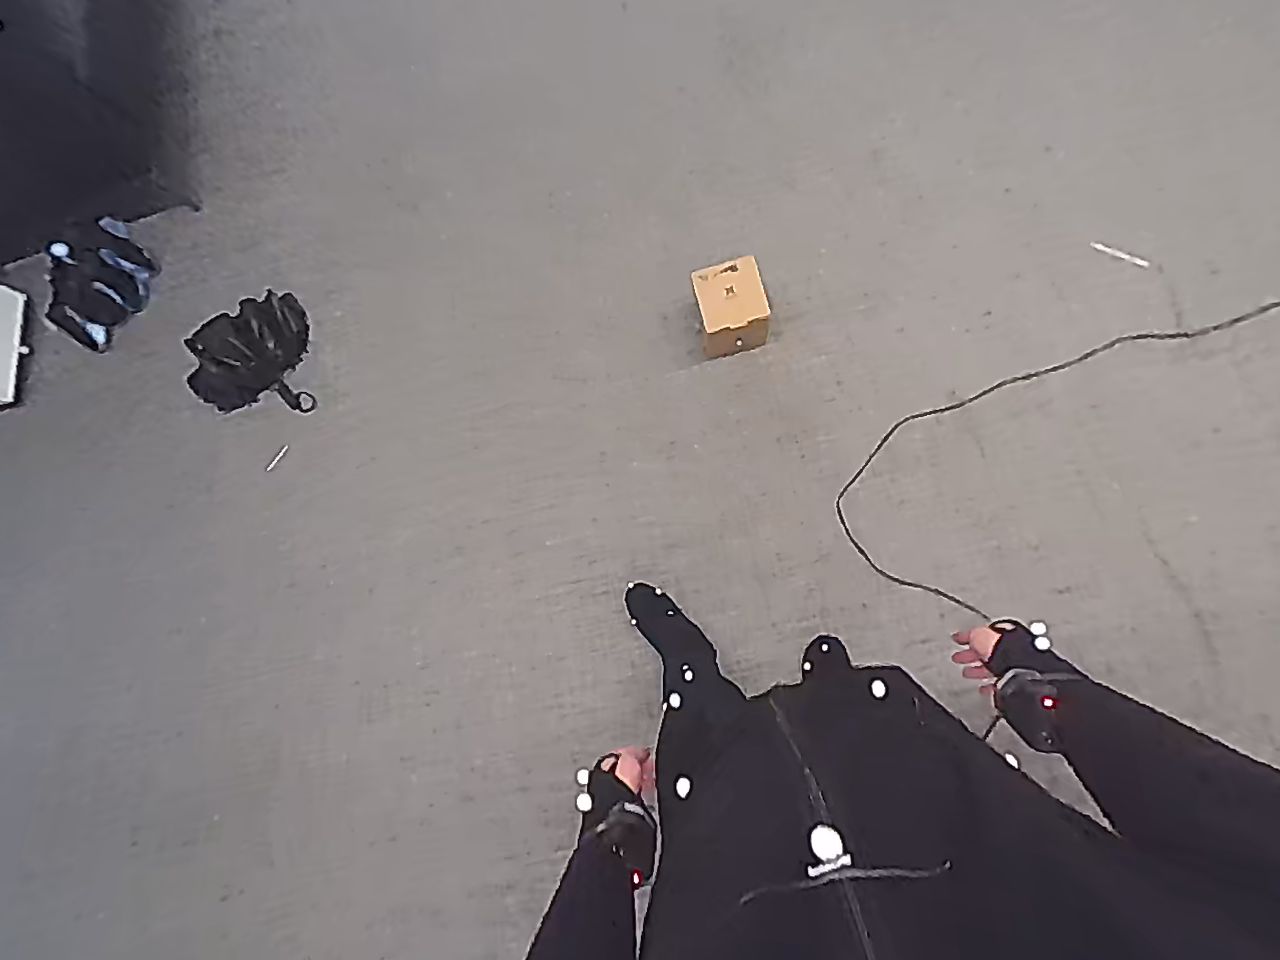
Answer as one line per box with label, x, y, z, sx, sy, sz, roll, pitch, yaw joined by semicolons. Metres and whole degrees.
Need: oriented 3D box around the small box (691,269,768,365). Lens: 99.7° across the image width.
small box;0.241;-0.427;1.455;0.168;0.176;0.179;-14;78;7
